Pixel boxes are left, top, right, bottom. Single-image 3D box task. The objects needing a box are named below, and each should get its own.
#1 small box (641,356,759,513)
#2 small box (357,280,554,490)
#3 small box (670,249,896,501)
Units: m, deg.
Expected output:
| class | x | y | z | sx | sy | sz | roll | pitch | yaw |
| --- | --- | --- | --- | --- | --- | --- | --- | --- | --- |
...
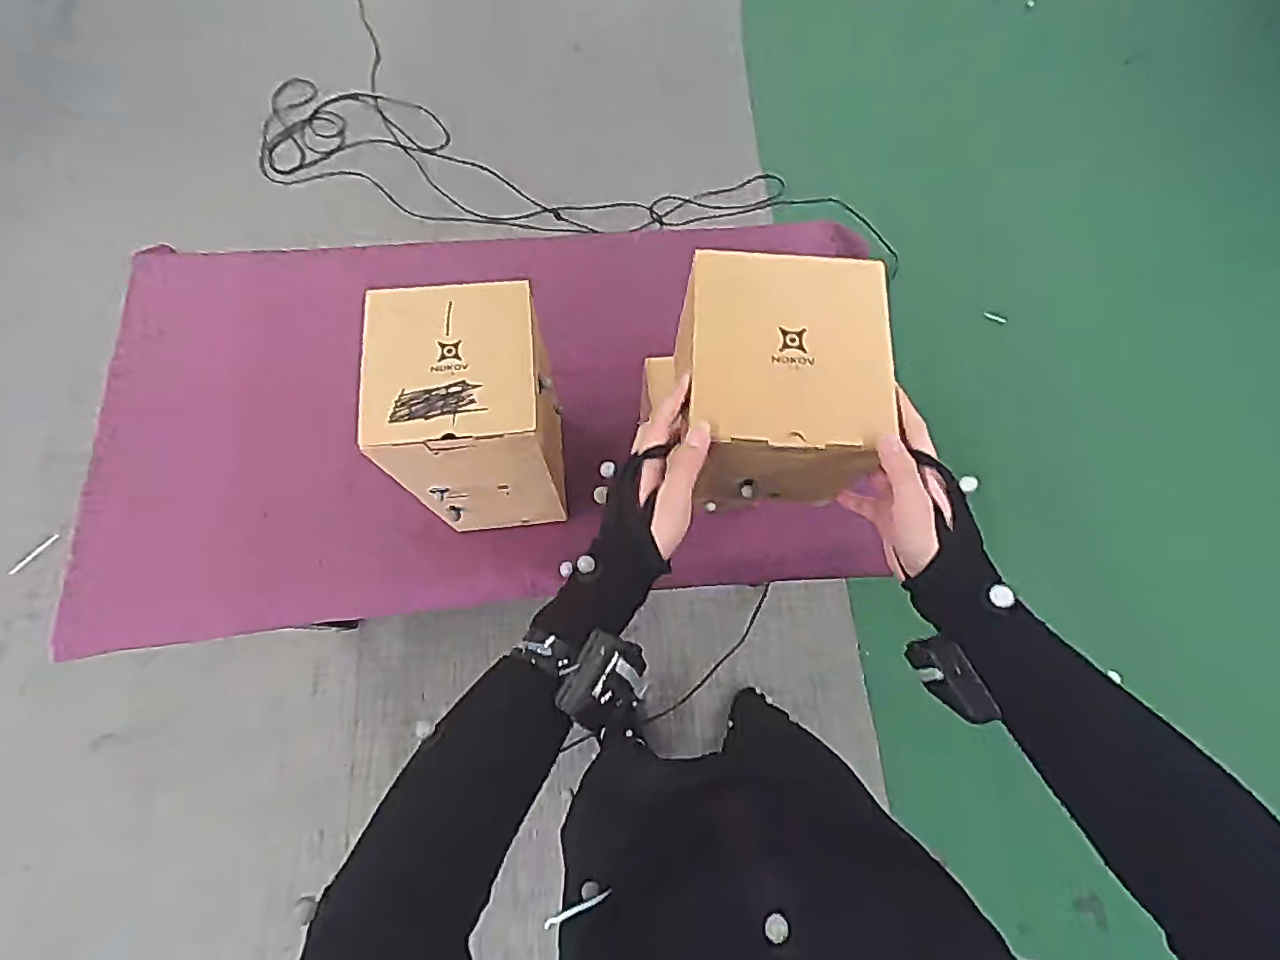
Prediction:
| class | x | y | z | sx | sy | sz | roll | pitch | yaw |
| --- | --- | --- | --- | --- | --- | --- | --- | --- | --- |
| small box | 0.092 | -0.062 | 0.776 | 0.168 | 0.176 | 0.179 | -5 | 72 | -3 |
| small box | -0.189 | -0.093 | 0.601 | 0.168 | 0.176 | 0.179 | -4 | 71 | -4 |
| small box | 0.119 | -0.088 | 0.520 | 0.168 | 0.176 | 0.179 | 3 | 74 | -2 |
